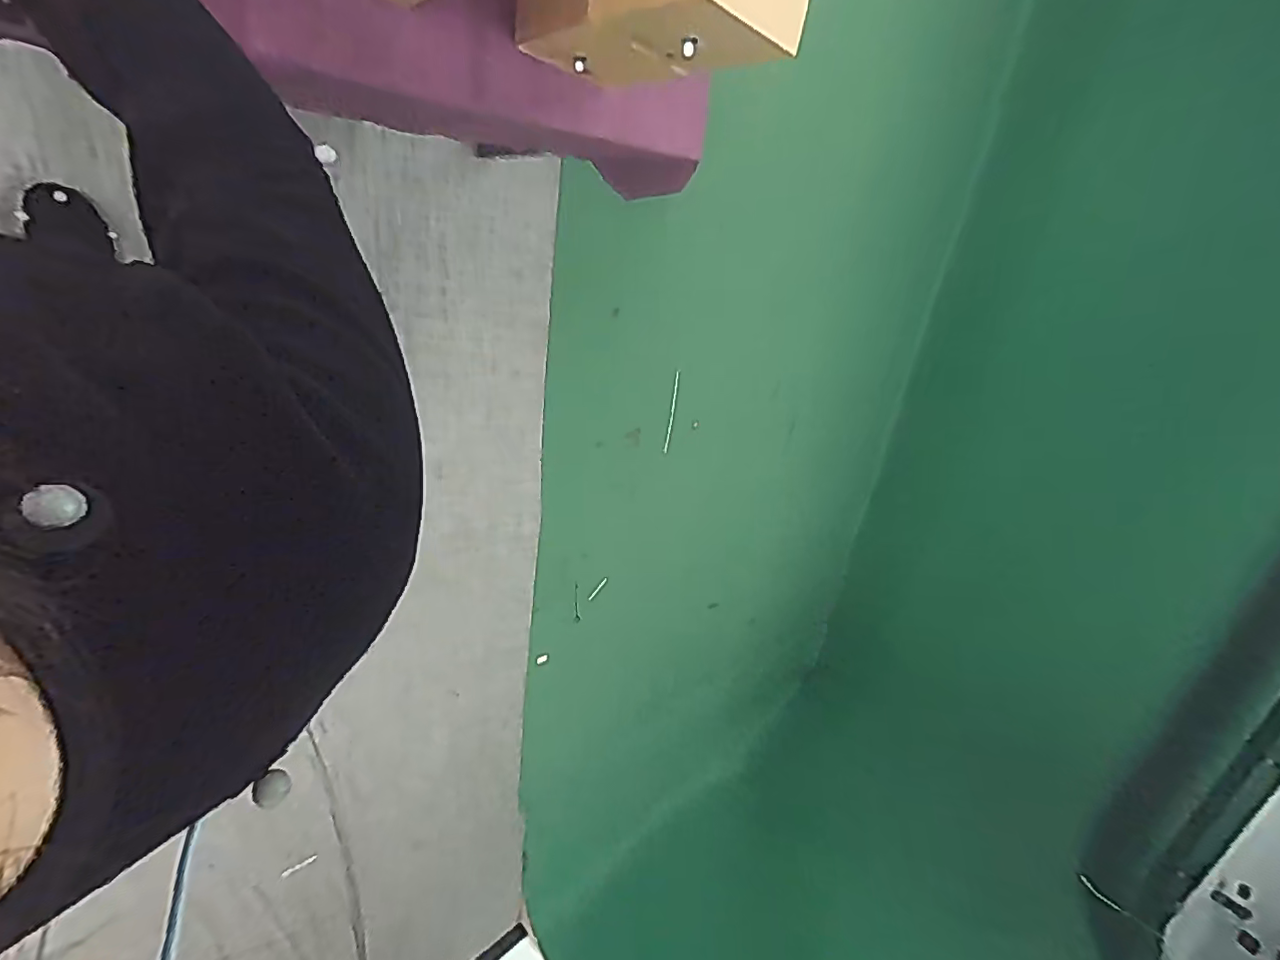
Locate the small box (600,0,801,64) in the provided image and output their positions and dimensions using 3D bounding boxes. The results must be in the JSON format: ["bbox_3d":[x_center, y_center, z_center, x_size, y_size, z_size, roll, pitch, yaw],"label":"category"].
[{"bbox_3d":[0.068,-0.582,0.581,0.168,0.176,0.179,-13,120,-42],"label":"small box"}]

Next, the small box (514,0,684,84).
[{"bbox_3d":[-0.045,-0.640,0.687,0.168,0.176,0.179,-11,119,-42],"label":"small box"}]
